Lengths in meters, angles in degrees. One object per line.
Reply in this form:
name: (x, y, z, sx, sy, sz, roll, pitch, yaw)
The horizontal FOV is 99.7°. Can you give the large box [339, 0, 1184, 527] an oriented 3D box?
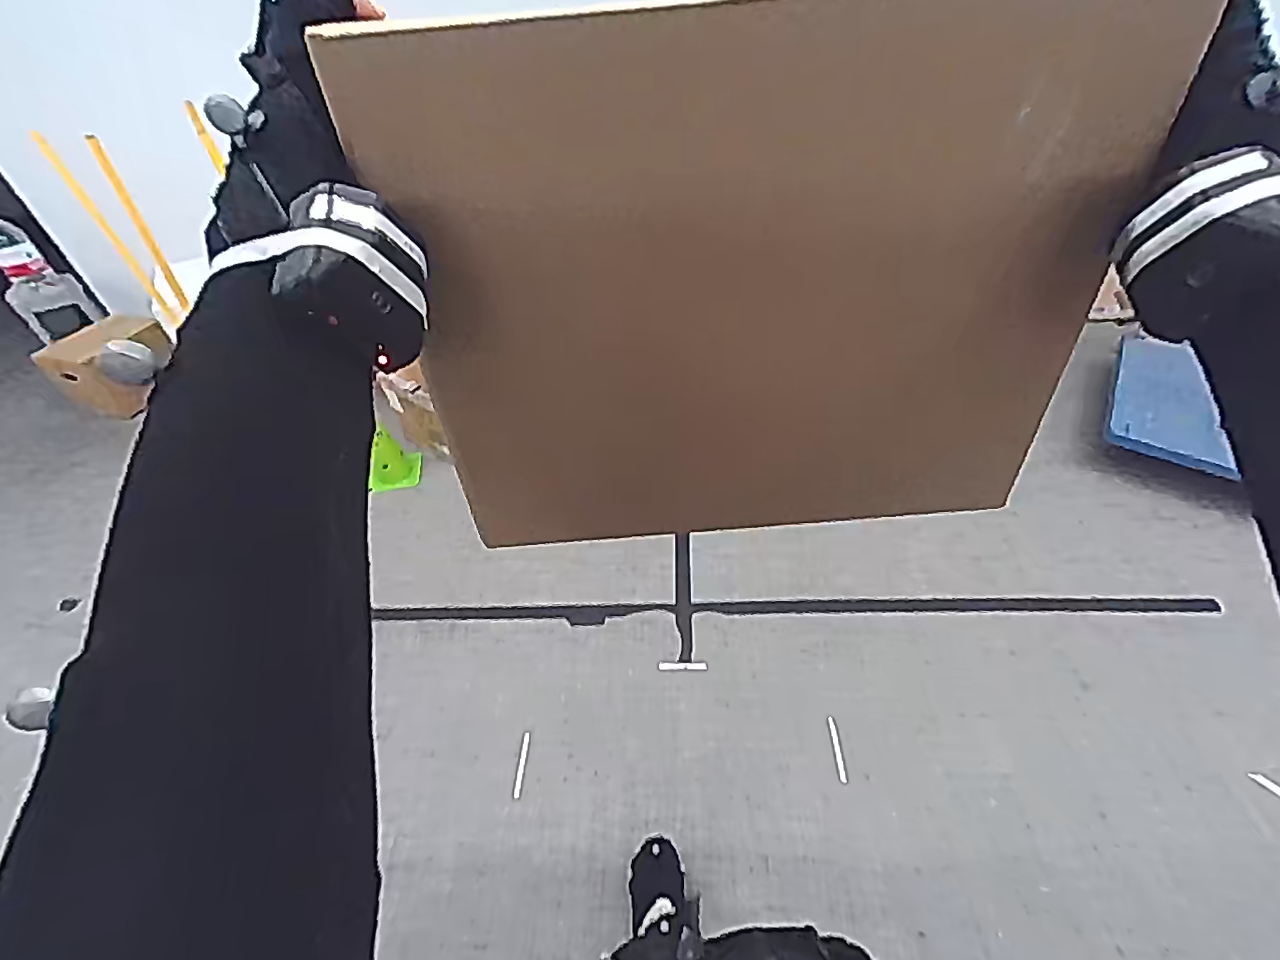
large box: (0.058, -0.184, 0.452, 0.408, 0.320, 0.320, -4, 38, 0)
